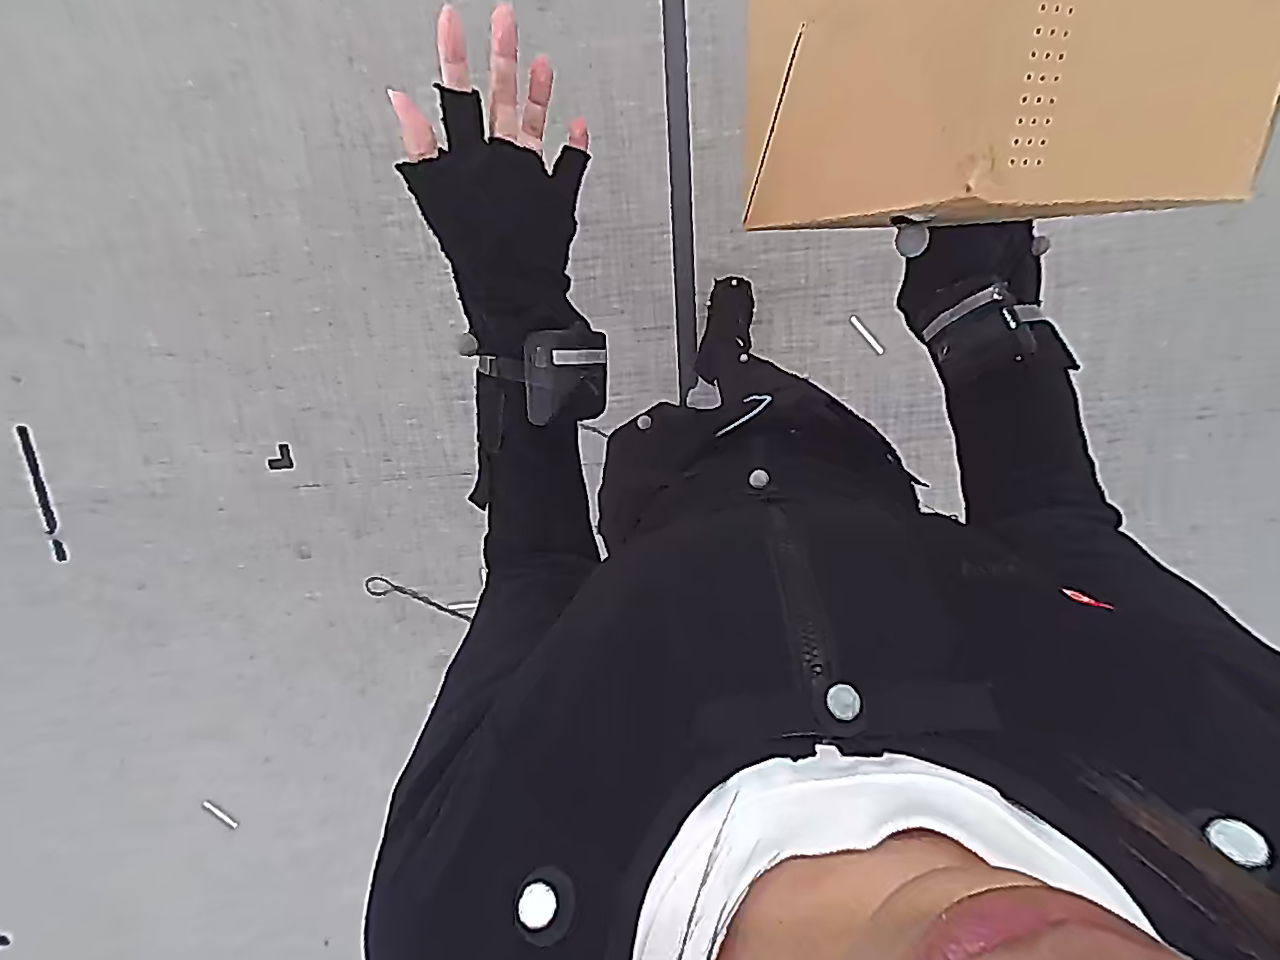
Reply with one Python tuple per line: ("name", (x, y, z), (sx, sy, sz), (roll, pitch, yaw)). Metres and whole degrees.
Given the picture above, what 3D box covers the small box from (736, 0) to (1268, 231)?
("small box", (0.158, -0.228, 0.268), (0.176, 0.168, 0.179), (-9, 113, -16))
